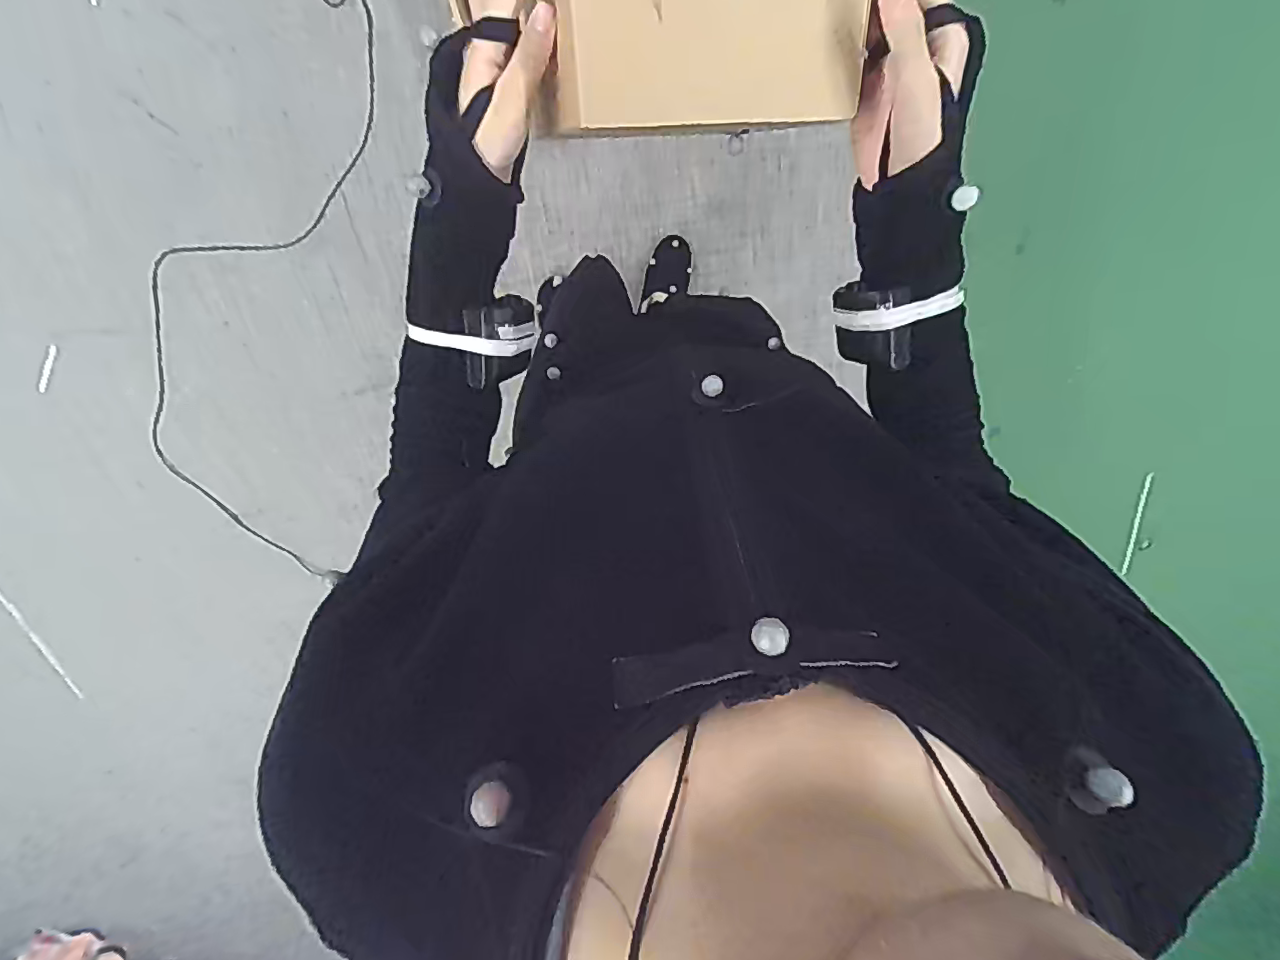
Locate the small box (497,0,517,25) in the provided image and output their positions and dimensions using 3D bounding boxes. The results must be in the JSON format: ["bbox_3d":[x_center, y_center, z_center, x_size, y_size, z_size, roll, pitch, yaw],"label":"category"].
[{"bbox_3d":[-0.197,-0.969,0.982,0.179,0.176,0.168,-14,116,3],"label":"small box"}]

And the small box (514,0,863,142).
[{"bbox_3d":[0.018,-0.314,0.338,0.179,0.176,0.168,-12,122,-13],"label":"small box"}]
